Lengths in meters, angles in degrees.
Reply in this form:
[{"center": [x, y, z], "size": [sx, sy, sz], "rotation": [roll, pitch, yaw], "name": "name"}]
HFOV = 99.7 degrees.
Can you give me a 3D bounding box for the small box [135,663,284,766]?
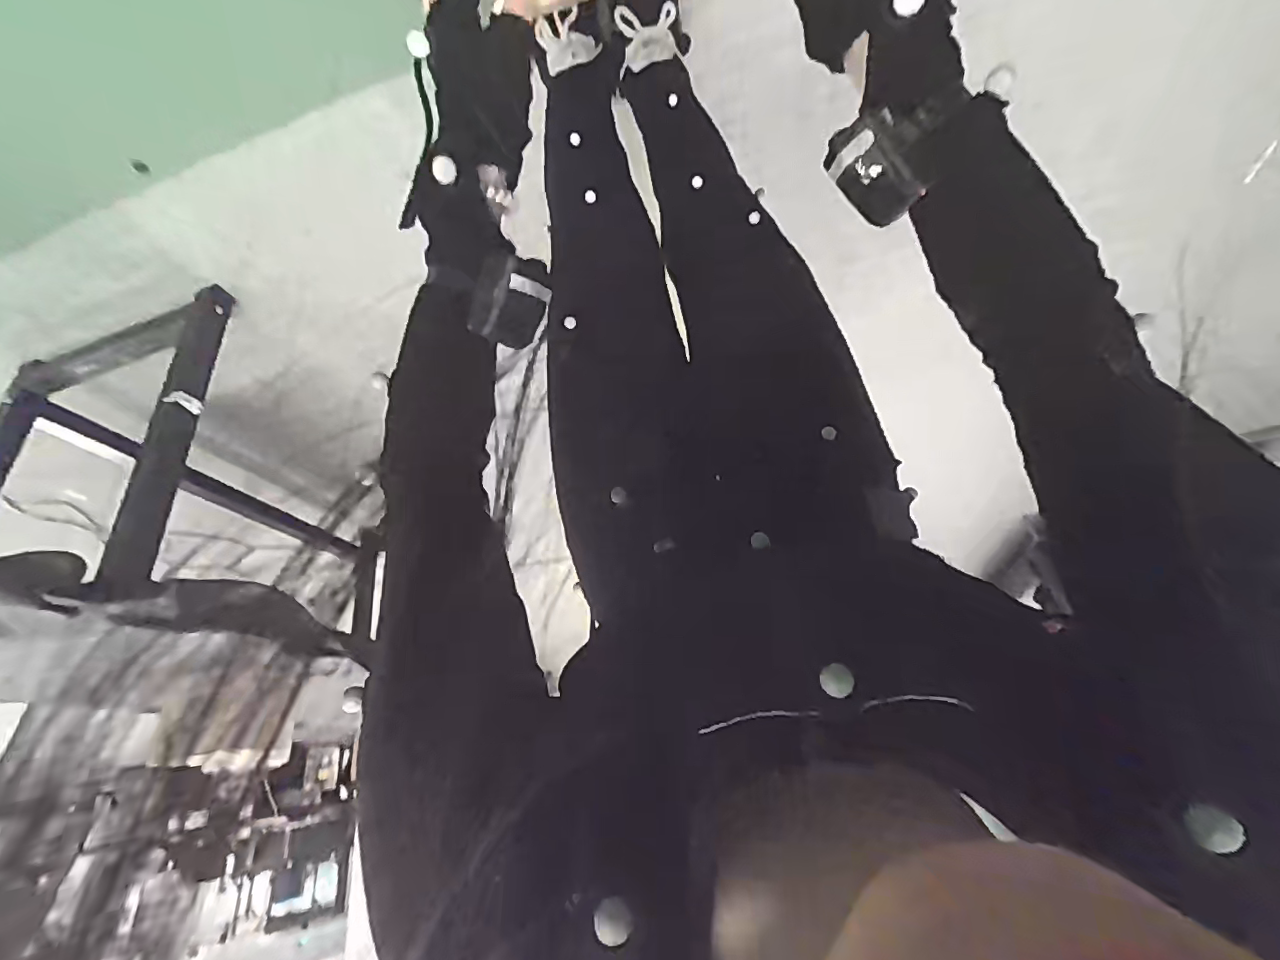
[{"center": [-0.905, 0.504, 1.157], "size": [0.179, 0.176, 0.168], "rotation": [-15, 151, 8], "name": "small box"}]
